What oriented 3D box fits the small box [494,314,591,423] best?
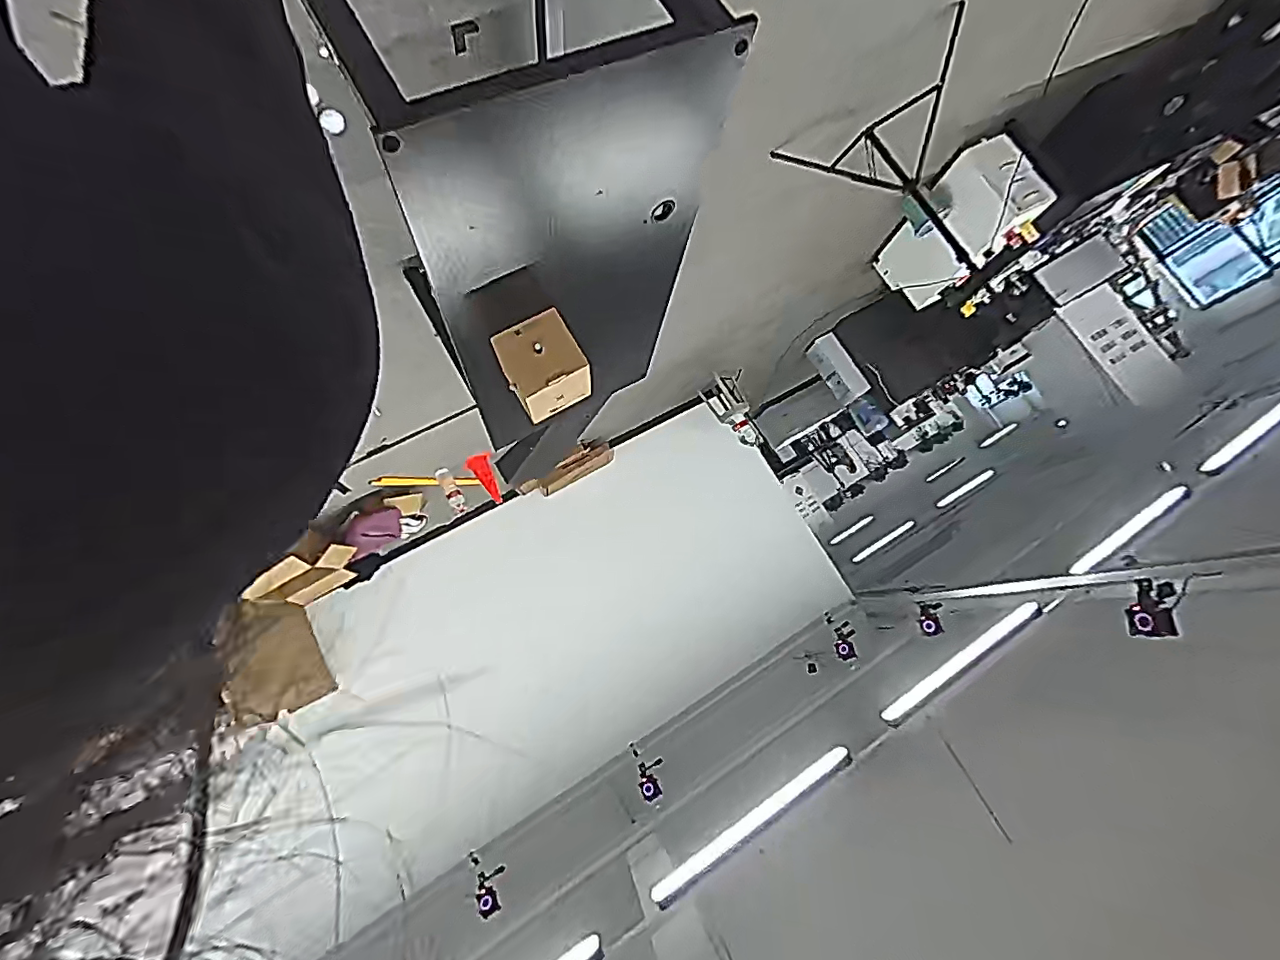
[{"bbox_3d":[-0.230,-0.271,1.294,0.168,0.176,0.179,-30,169,-10],"label":"small box"}]
